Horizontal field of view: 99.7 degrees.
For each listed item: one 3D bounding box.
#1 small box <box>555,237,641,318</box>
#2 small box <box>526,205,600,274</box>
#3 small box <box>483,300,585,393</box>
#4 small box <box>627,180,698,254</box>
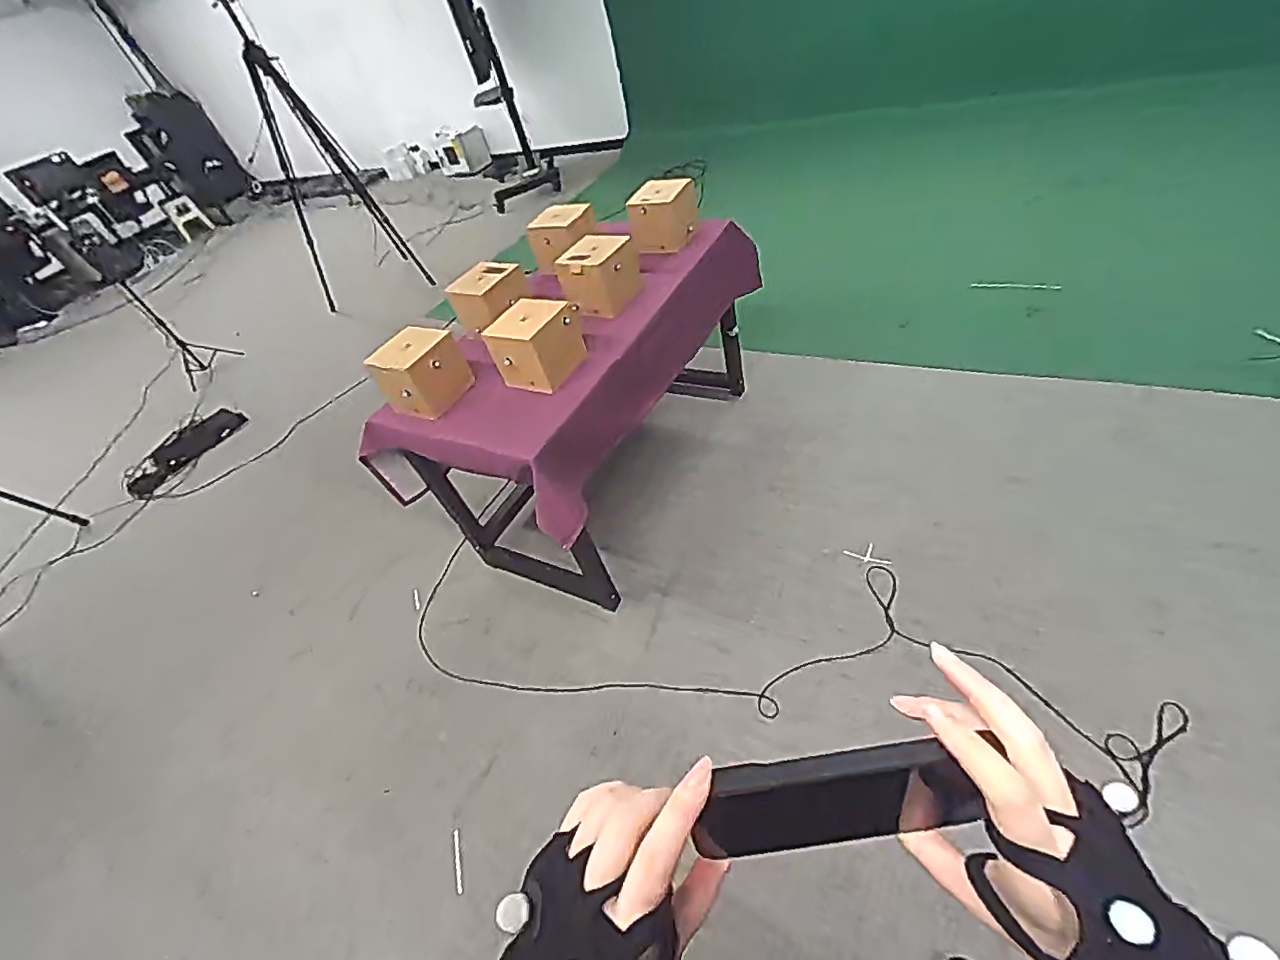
[{"bbox_3d":[-0.116,-0.602,1.608,0.168,0.176,0.179,16,54,30],"label":"small box"},{"bbox_3d":[-0.254,-0.823,1.864,0.179,0.176,0.168,11,53,27],"label":"small box"},{"bbox_3d":[-0.267,-0.348,1.415,0.168,0.176,0.179,14,52,29],"label":"small box"},{"bbox_3d":[0.083,-0.875,1.804,0.168,0.176,0.179,12,52,28],"label":"small box"}]
